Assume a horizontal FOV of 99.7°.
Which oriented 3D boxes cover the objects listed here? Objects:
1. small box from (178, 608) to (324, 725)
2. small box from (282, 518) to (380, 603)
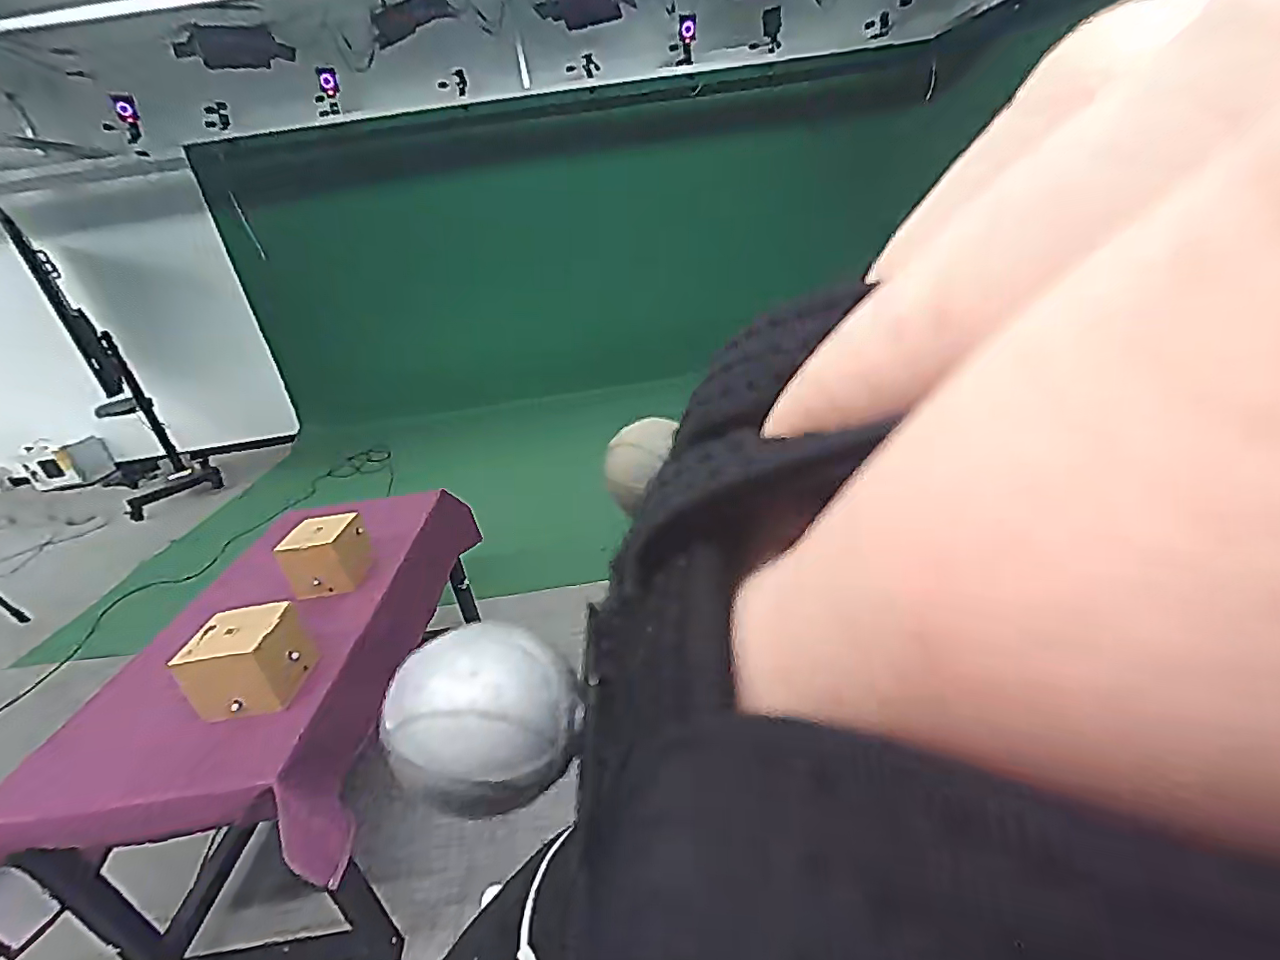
[{"bbox_3d":[-0.844,0.412,1.198,0.179,0.176,0.168,-9,25,0],"label":"small box"},{"bbox_3d":[-0.888,0.234,1.578,0.168,0.176,0.179,-9,26,2],"label":"small box"}]
